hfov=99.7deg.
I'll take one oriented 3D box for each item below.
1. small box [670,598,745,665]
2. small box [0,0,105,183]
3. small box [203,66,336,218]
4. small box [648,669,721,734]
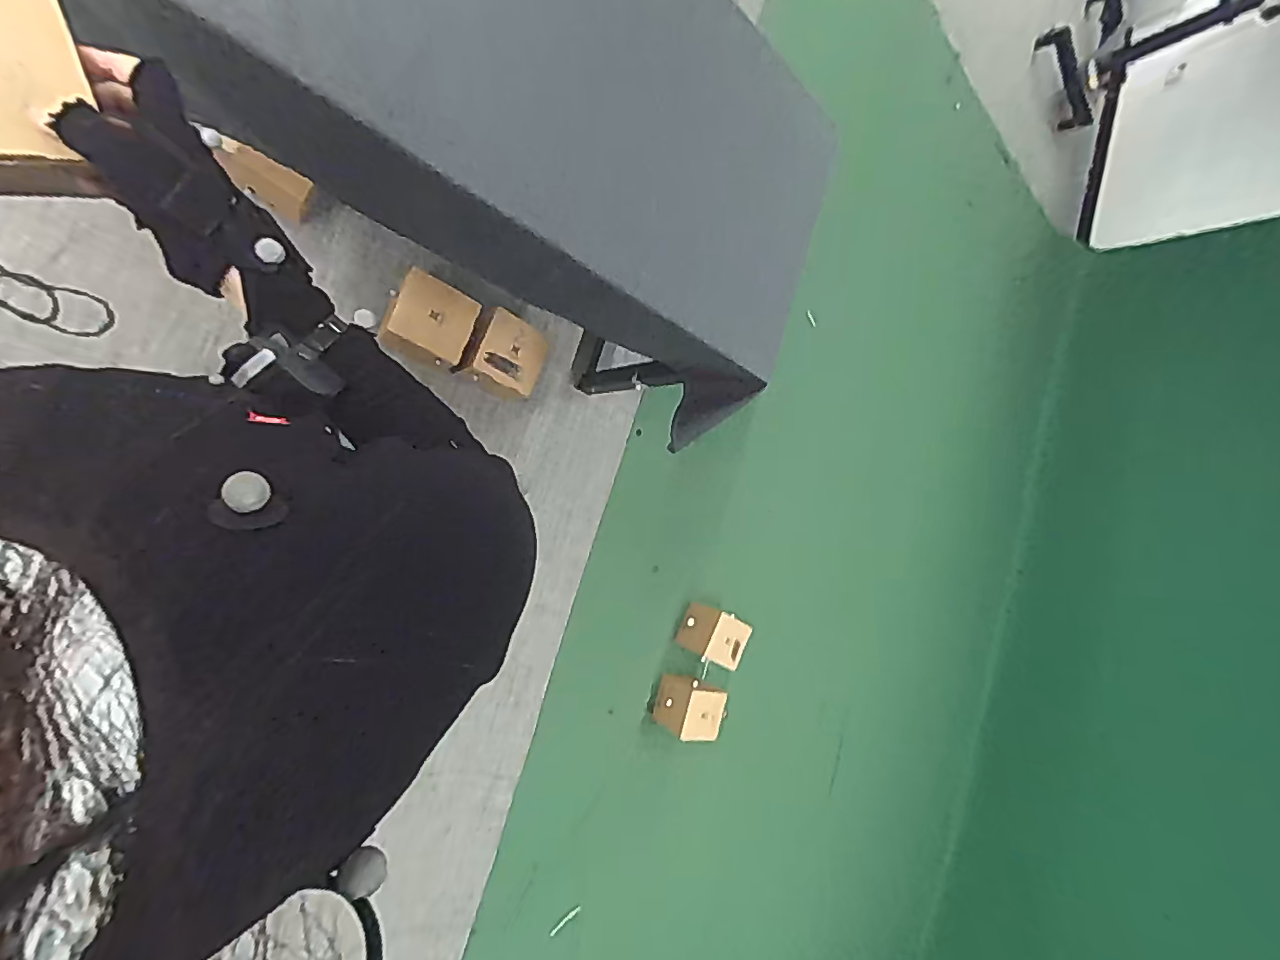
[{"bbox_3d":[0.244,0.548,1.972,0.179,0.176,0.168,34,74,-31],"label":"small box"},{"bbox_3d":[-0.436,-0.270,0.295,0.168,0.176,0.179,-23,121,-41],"label":"small box"},{"bbox_3d":[-0.768,-0.690,1.126,0.168,0.176,0.179,31,76,-33],"label":"small box"},{"bbox_3d":[0.156,0.787,1.928,0.179,0.176,0.168,20,83,-36],"label":"small box"}]
